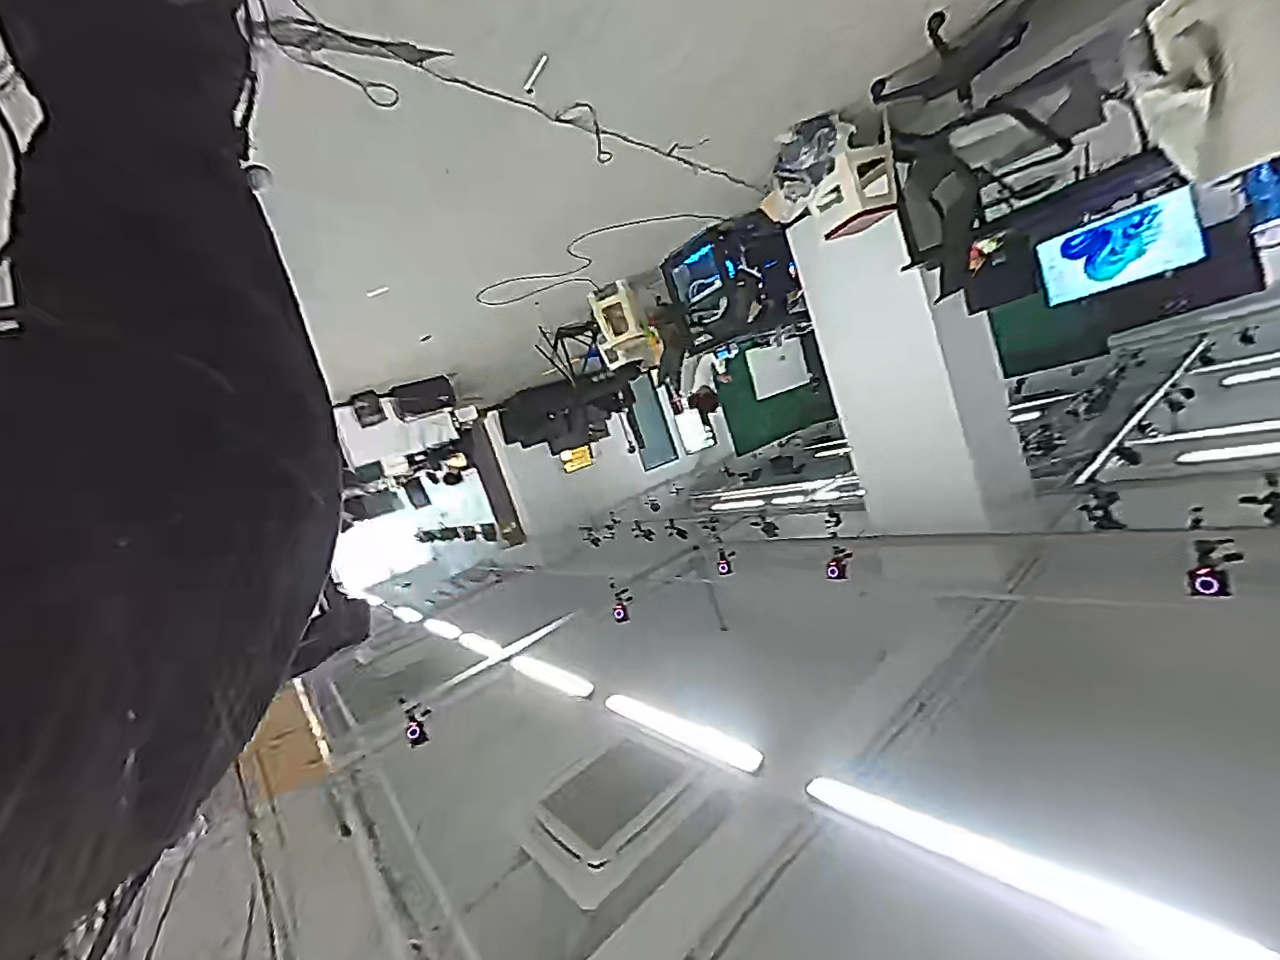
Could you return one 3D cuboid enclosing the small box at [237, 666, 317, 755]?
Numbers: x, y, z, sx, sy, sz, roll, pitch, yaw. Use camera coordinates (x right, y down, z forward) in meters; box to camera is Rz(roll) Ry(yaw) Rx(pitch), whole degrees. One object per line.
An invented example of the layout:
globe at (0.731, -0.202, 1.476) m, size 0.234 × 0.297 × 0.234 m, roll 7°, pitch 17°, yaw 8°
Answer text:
small box at (-1.127, 0.707, 1.680) m, size 0.168 × 0.176 × 0.179 m, roll -21°, pitch -172°, yaw -33°
